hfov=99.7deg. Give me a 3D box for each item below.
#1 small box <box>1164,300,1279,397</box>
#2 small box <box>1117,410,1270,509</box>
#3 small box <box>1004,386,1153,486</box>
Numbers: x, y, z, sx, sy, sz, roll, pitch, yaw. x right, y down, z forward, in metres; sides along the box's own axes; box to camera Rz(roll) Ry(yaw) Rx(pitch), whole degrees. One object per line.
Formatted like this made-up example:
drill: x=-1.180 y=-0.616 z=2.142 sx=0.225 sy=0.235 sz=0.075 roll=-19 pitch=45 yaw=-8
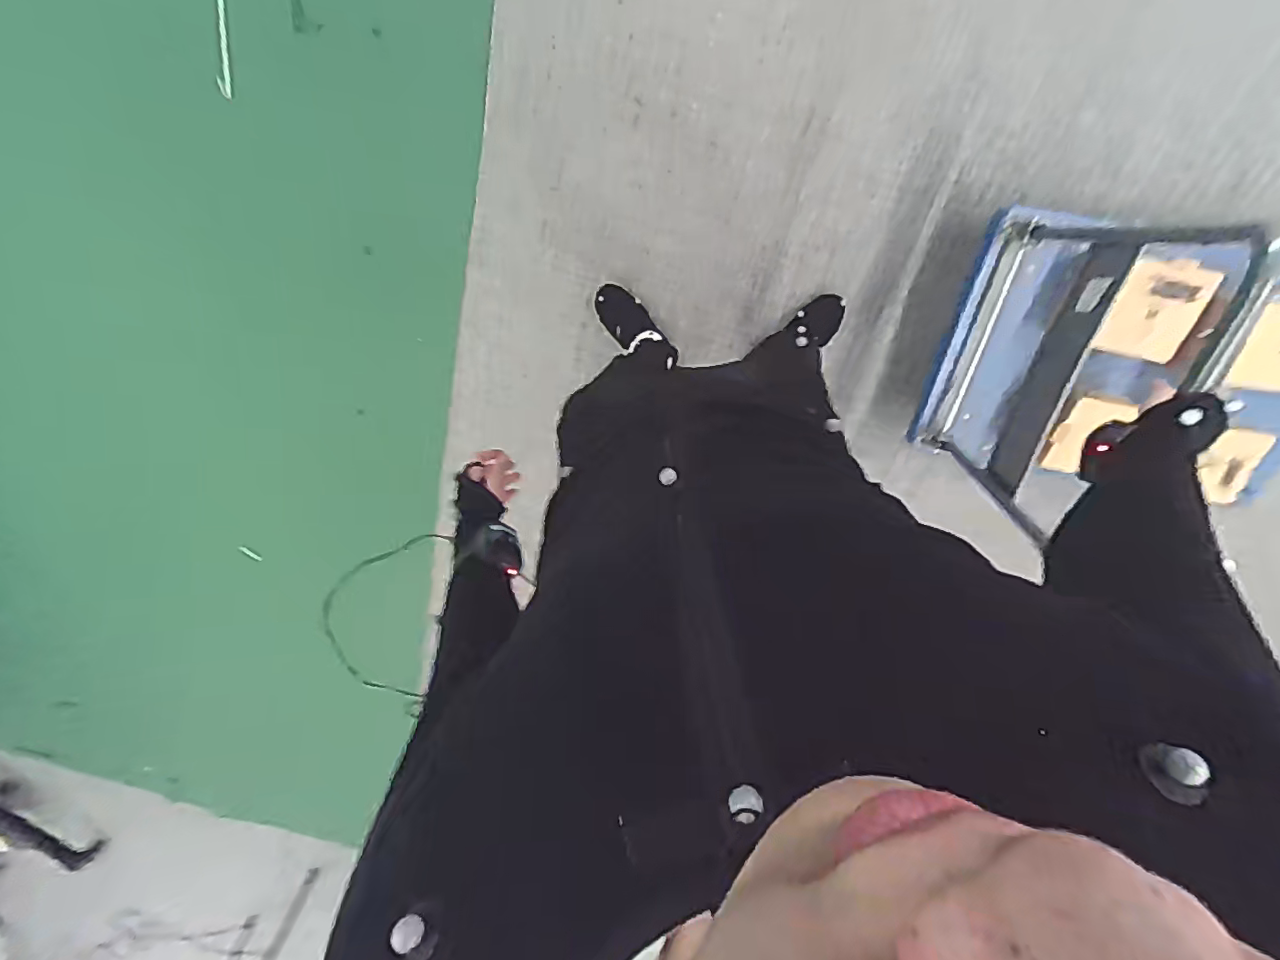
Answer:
small box: x=1.286 y=-0.280 z=1.142 sx=0.179 sy=0.176 sz=0.168 roll=8 pitch=116 yaw=3
small box: x=1.246 y=-0.053 z=1.251 sx=0.179 sy=0.176 sz=0.168 roll=10 pitch=114 yaw=3
small box: x=1.003 y=-0.108 z=1.255 sx=0.179 sy=0.176 sz=0.168 roll=13 pitch=115 yaw=1
